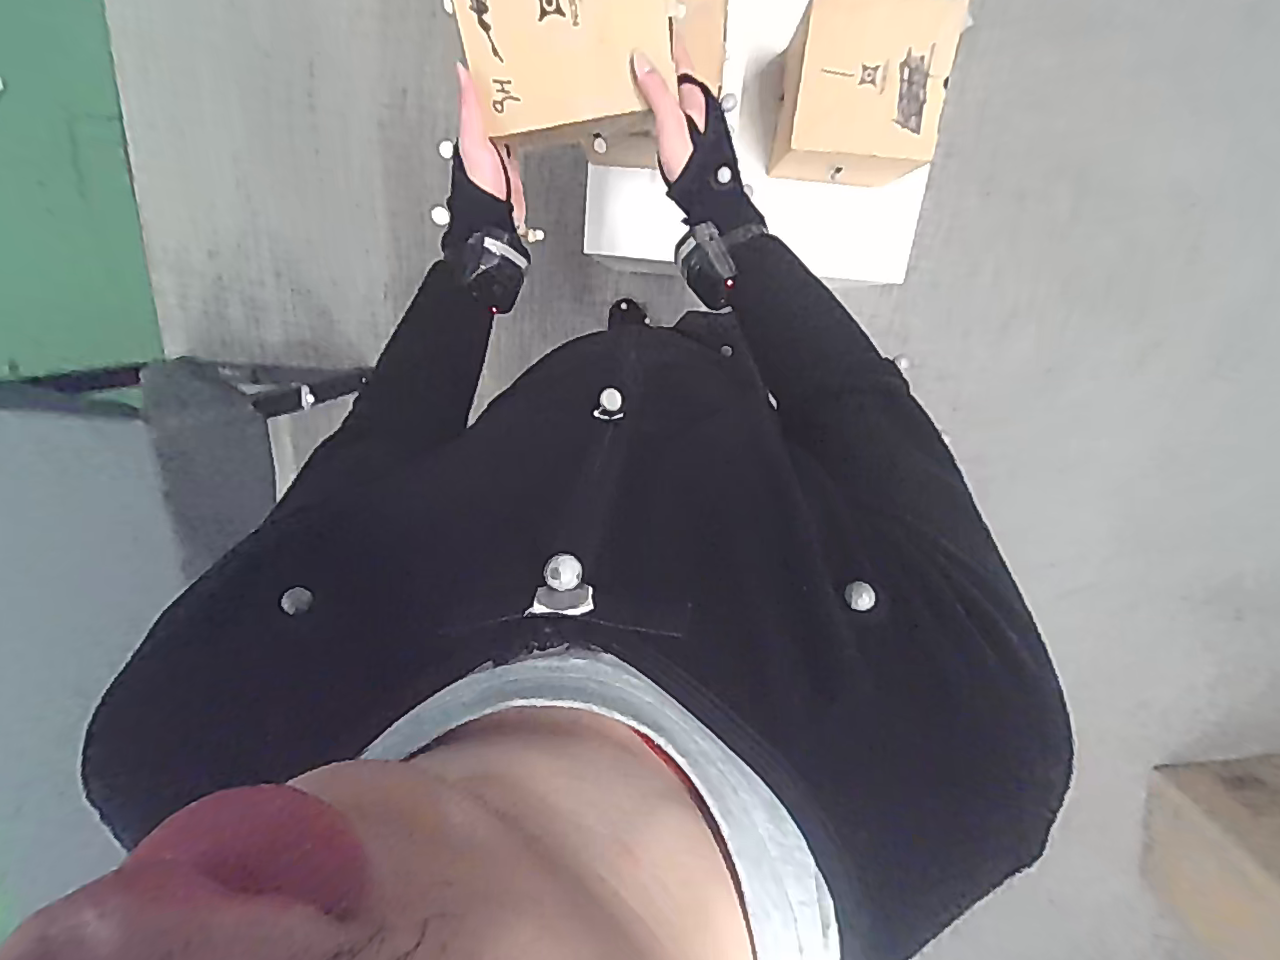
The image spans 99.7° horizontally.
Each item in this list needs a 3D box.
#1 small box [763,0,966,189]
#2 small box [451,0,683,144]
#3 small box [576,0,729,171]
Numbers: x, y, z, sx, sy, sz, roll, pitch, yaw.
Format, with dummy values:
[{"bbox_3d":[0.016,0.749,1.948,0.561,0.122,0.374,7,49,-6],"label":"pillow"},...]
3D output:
[{"bbox_3d":[0.274,-0.491,0.705,0.179,0.176,0.168,6,108,0],"label":"small box"},{"bbox_3d":[-0.060,-0.415,0.486,0.179,0.176,0.168,-7,116,4],"label":"small box"},{"bbox_3d":[0.009,-0.516,0.702,0.179,0.176,0.168,4,107,0],"label":"small box"}]
